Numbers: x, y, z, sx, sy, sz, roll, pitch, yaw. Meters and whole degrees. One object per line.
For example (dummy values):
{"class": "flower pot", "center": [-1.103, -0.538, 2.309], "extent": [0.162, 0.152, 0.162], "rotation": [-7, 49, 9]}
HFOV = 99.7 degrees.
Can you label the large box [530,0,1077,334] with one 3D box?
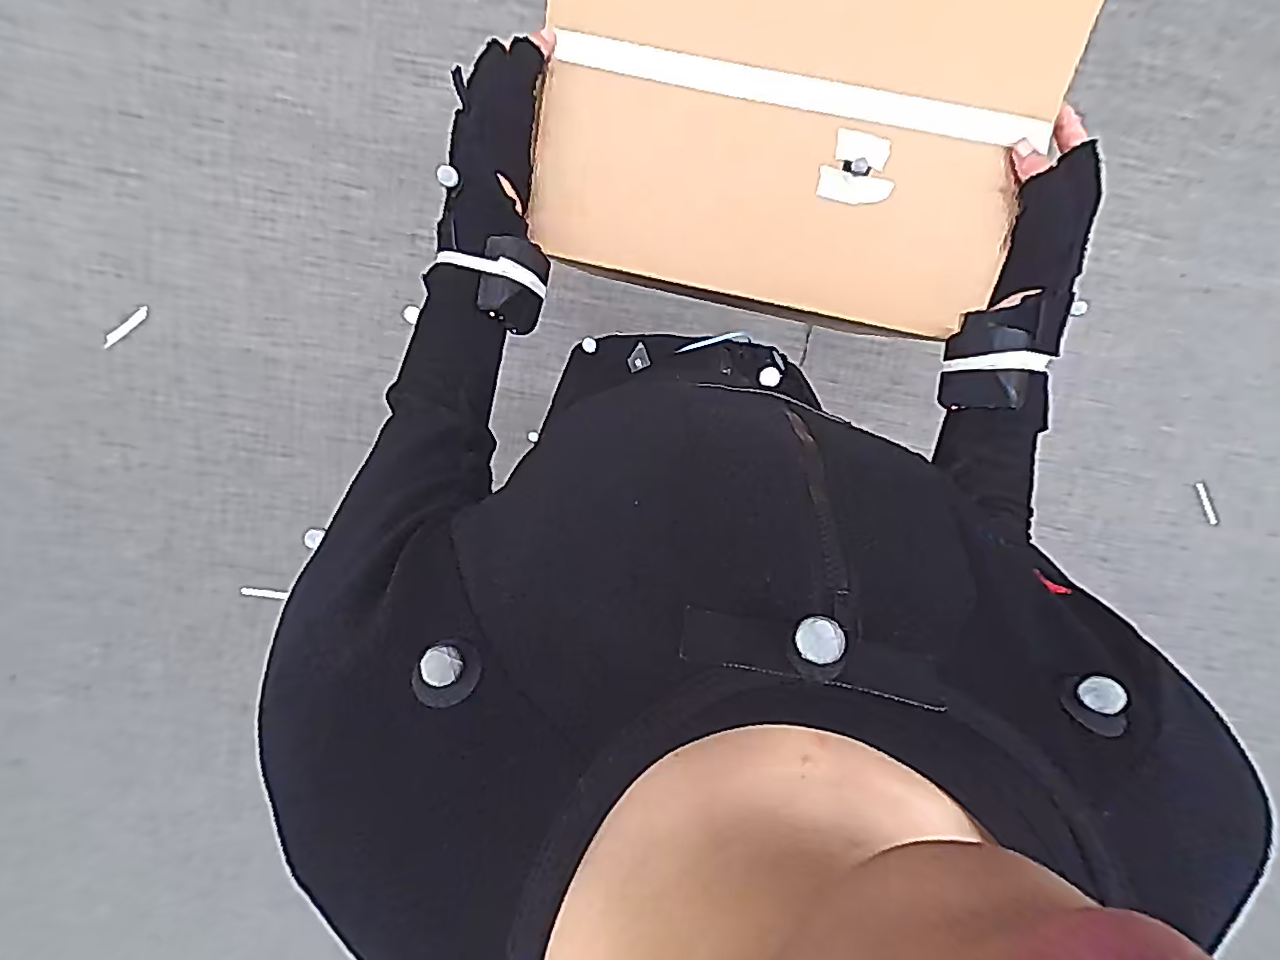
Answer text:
{"class": "large box", "center": [0.132, -0.356, 0.588], "extent": [0.408, 0.320, 0.320], "rotation": [13, 109, 2]}
